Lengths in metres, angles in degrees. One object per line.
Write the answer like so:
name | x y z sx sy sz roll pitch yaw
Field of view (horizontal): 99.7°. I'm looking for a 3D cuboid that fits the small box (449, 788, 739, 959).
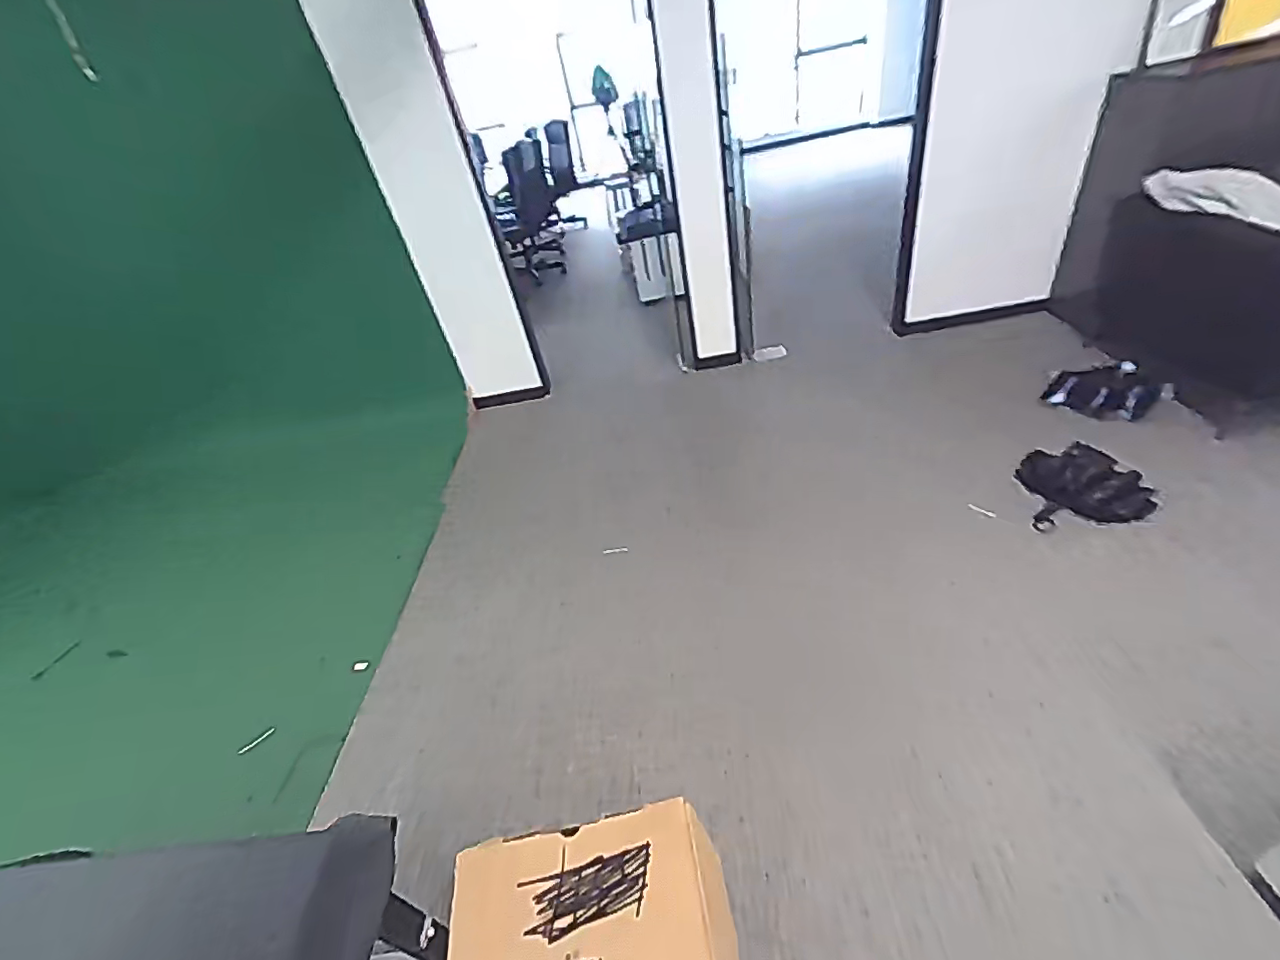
small box | -0.020 0.347 0.372 0.168 0.176 0.179 -15 43 4
